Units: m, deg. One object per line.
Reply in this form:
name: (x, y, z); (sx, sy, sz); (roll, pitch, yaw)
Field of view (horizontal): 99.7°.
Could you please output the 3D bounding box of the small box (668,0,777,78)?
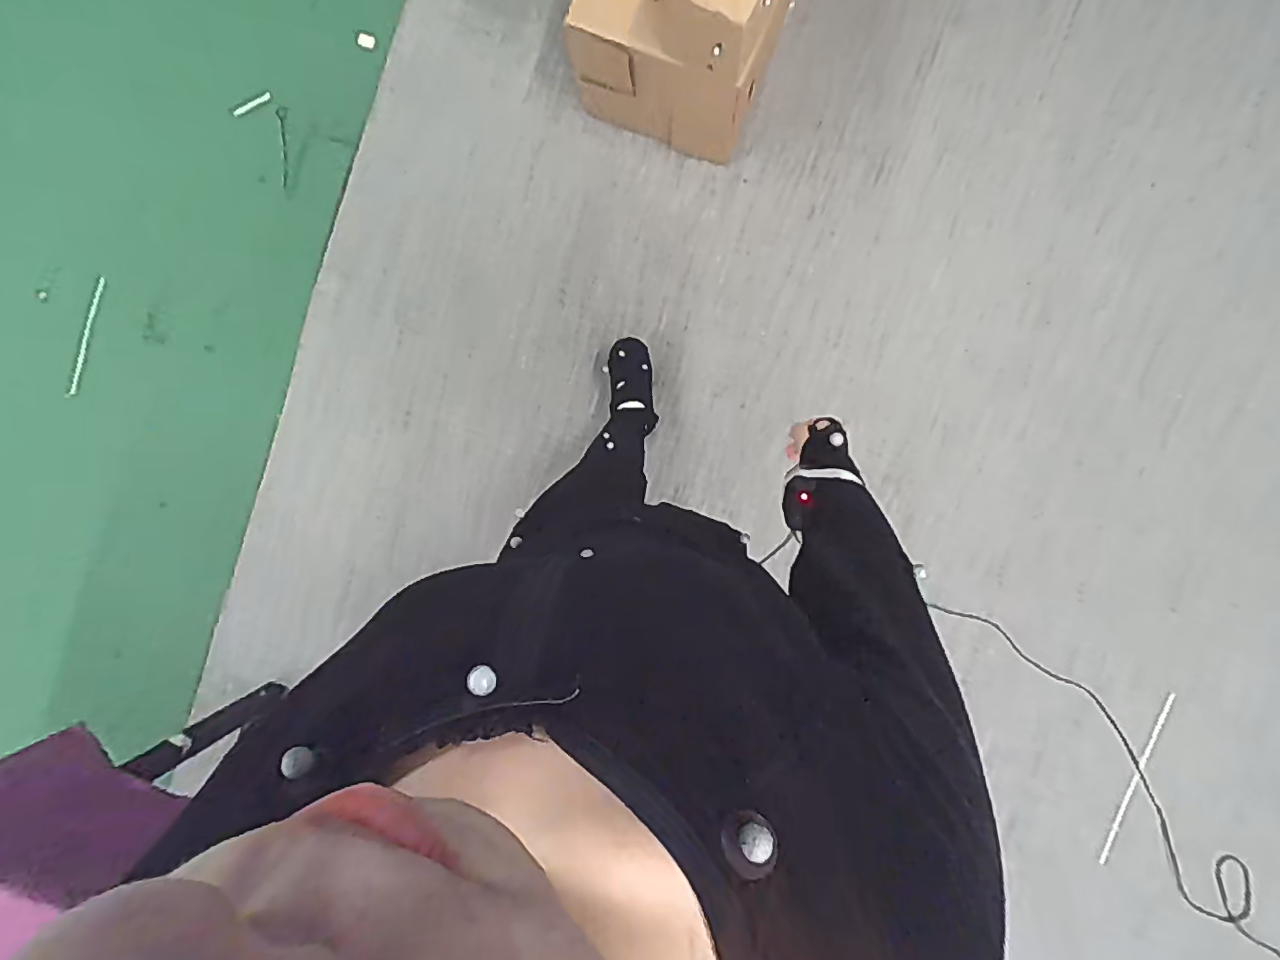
small box: (0.162, -0.916, 1.016); (0.168, 0.176, 0.179); (27, 93, 2)
